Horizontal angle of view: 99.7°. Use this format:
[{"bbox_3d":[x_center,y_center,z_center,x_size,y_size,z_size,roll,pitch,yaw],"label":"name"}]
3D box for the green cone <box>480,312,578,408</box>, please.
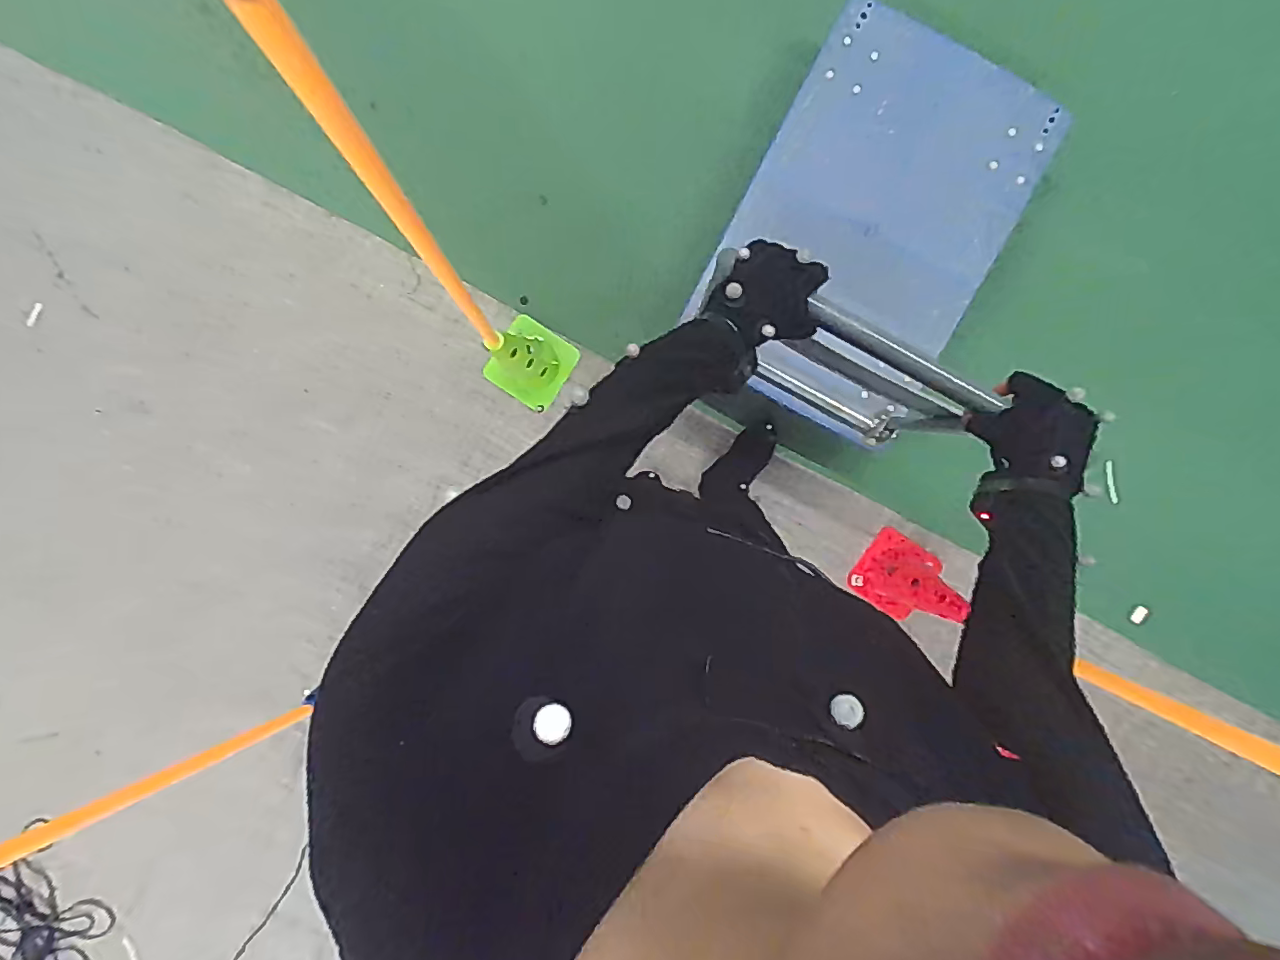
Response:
[{"bbox_3d":[-0.295,-0.311,1.273,0.202,0.368,0.200,33,94,-1],"label":"green cone"}]
